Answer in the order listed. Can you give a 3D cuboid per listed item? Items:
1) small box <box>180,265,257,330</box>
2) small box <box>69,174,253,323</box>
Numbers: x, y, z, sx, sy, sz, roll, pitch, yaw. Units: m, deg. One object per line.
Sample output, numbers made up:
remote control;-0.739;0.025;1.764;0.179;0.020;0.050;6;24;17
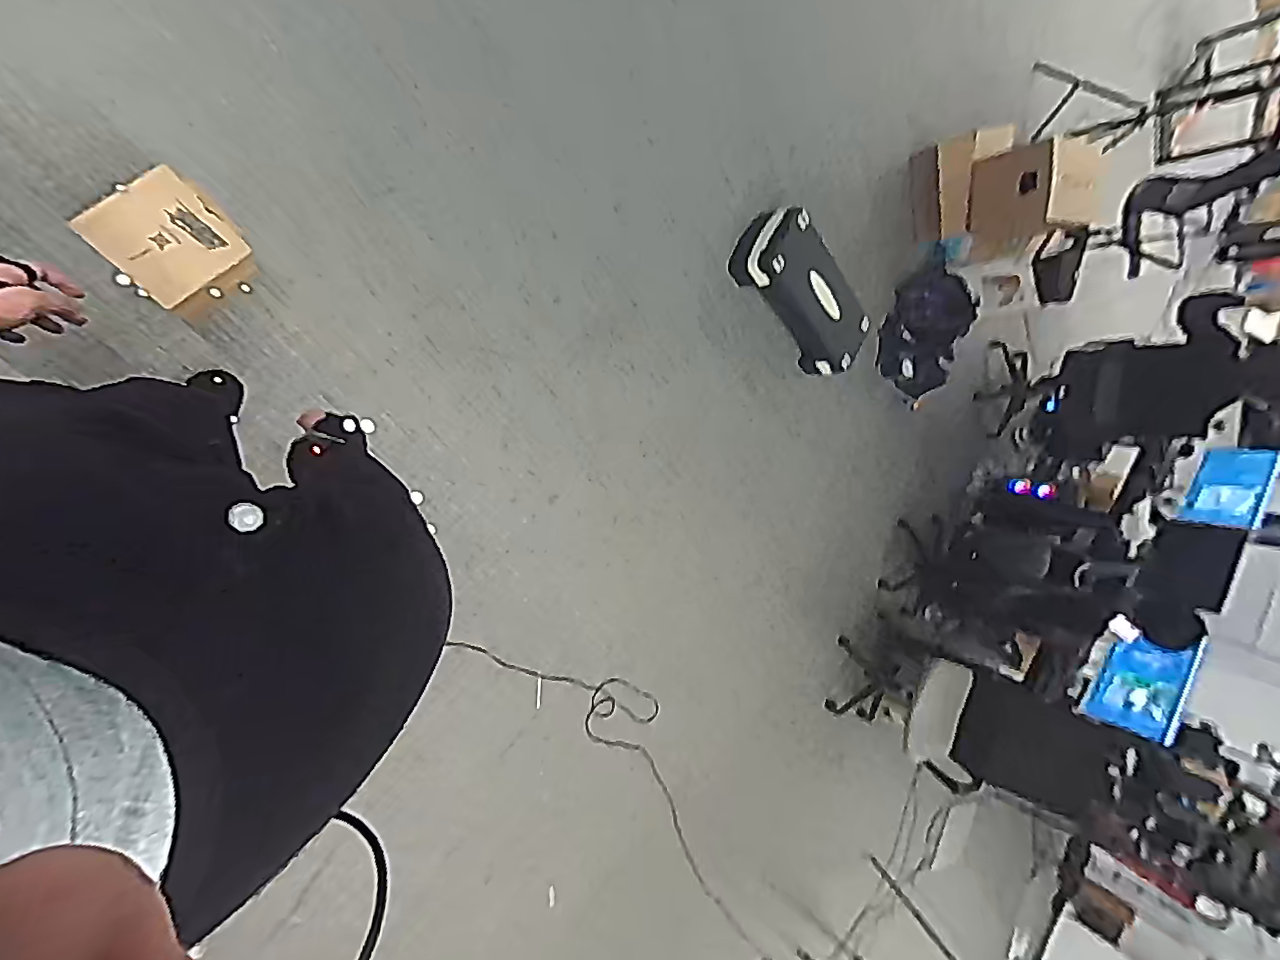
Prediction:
small box;-0.926;-0.427;1.104;0.179;0.176;0.168;-50;122;-16
small box;-0.838;-0.403;0.966;0.179;0.176;0.168;-50;122;-17
